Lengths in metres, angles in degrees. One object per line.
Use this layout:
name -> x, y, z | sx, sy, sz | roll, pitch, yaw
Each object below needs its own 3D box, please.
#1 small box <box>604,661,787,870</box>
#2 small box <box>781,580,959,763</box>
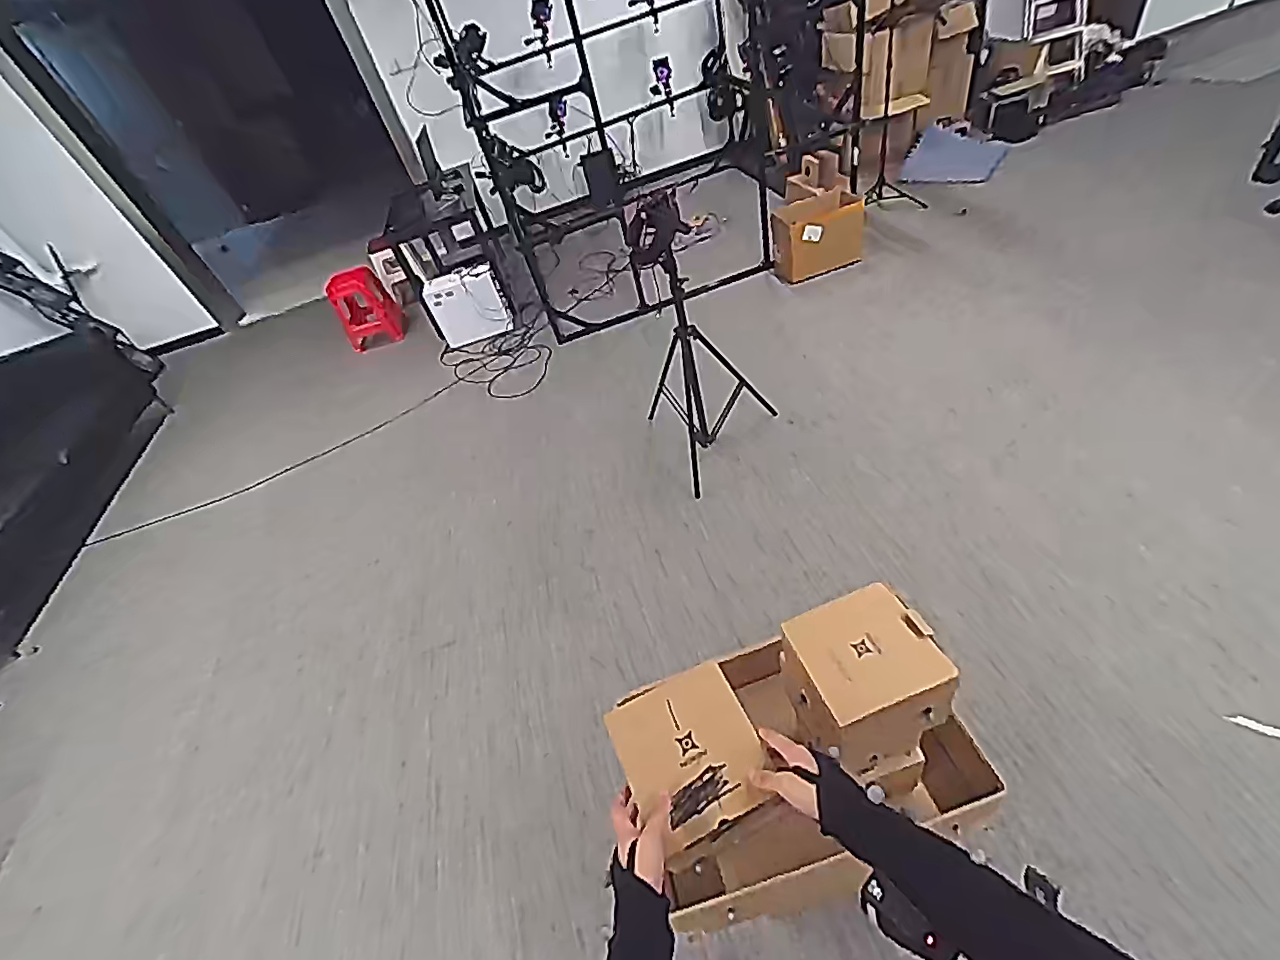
small box -> 0.074, 0.376, 0.707 | 0.168, 0.176, 0.179 | -25, 50, -8
small box -> 0.329, 0.285, 0.802 | 0.179, 0.176, 0.168 | -23, 43, -2
